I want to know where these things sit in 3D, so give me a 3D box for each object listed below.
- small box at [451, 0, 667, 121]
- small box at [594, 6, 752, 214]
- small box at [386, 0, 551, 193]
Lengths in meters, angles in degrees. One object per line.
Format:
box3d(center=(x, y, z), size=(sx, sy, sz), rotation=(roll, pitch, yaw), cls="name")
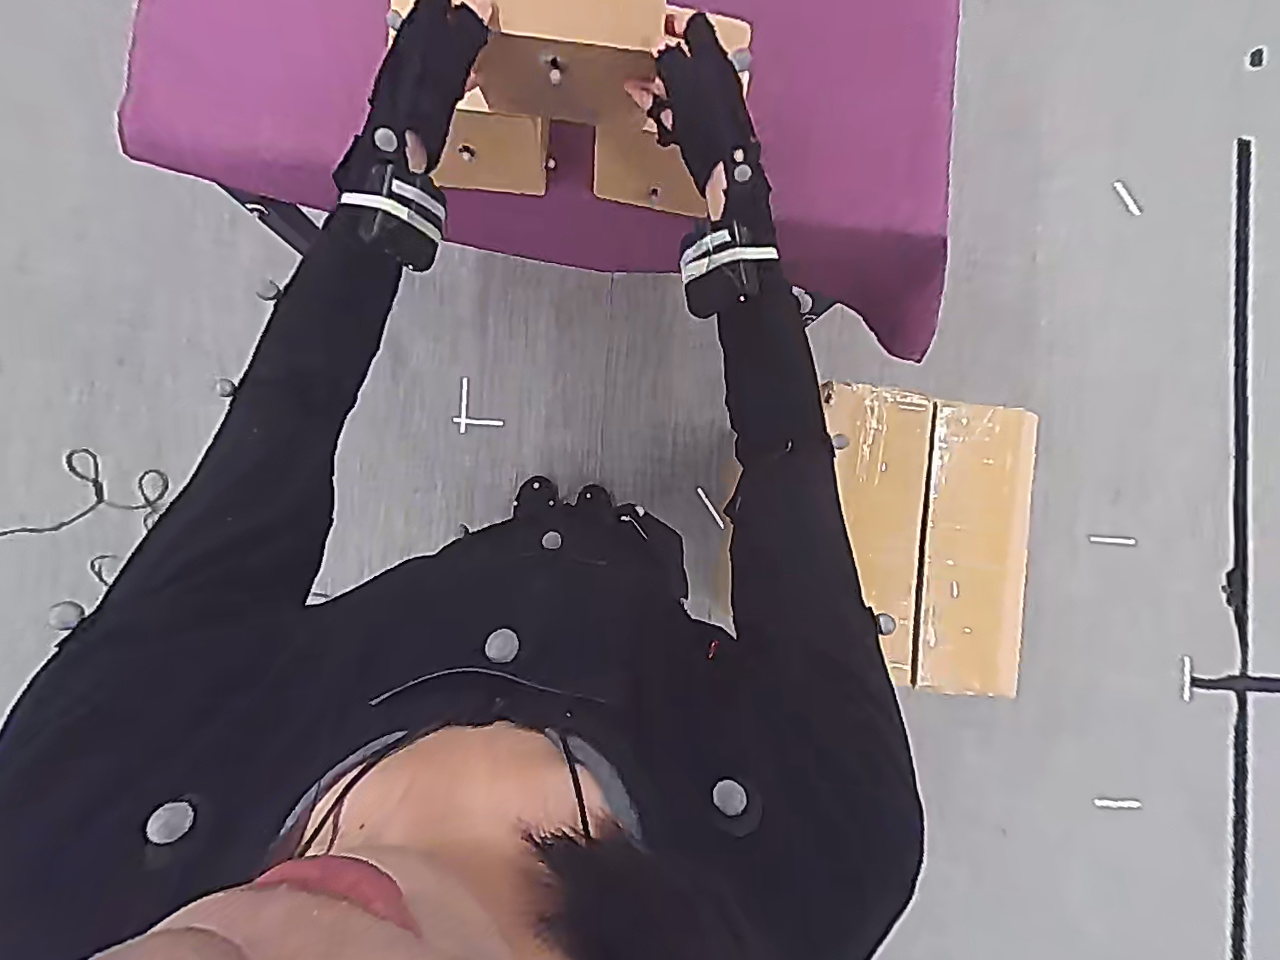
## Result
box3d(center=(-0.066, -0.464, 0.503), size=(0.179, 0.176, 0.168), rotation=(3, 103, -6), cls="small box")
box3d(center=(0.035, -0.498, 0.747), size=(0.179, 0.176, 0.168), rotation=(8, 86, -6), cls="small box")
box3d(center=(-0.214, -0.512, 0.722), size=(0.179, 0.176, 0.168), rotation=(3, 86, -4), cls="small box")
